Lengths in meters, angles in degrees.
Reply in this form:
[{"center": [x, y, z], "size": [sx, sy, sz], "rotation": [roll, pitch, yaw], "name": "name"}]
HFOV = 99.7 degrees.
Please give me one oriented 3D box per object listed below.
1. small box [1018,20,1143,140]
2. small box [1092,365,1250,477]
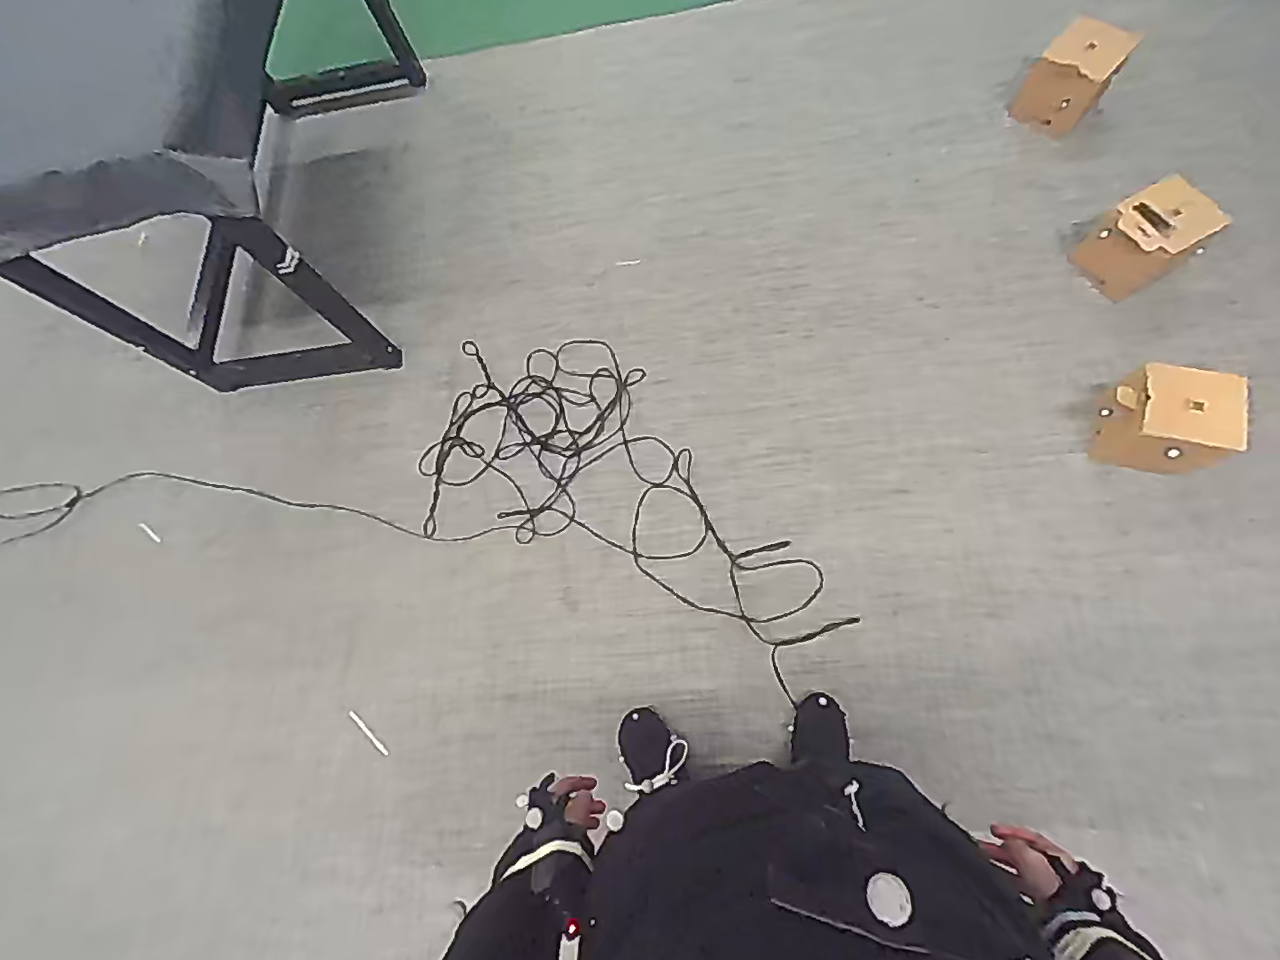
[{"center": [1.159, -1.060, 1.443], "size": [0.168, 0.176, 0.179], "rotation": [41, 81, 17], "name": "small box"}, {"center": [1.116, -0.117, 1.147], "size": [0.179, 0.176, 0.168], "rotation": [14, 75, 13], "name": "small box"}]
